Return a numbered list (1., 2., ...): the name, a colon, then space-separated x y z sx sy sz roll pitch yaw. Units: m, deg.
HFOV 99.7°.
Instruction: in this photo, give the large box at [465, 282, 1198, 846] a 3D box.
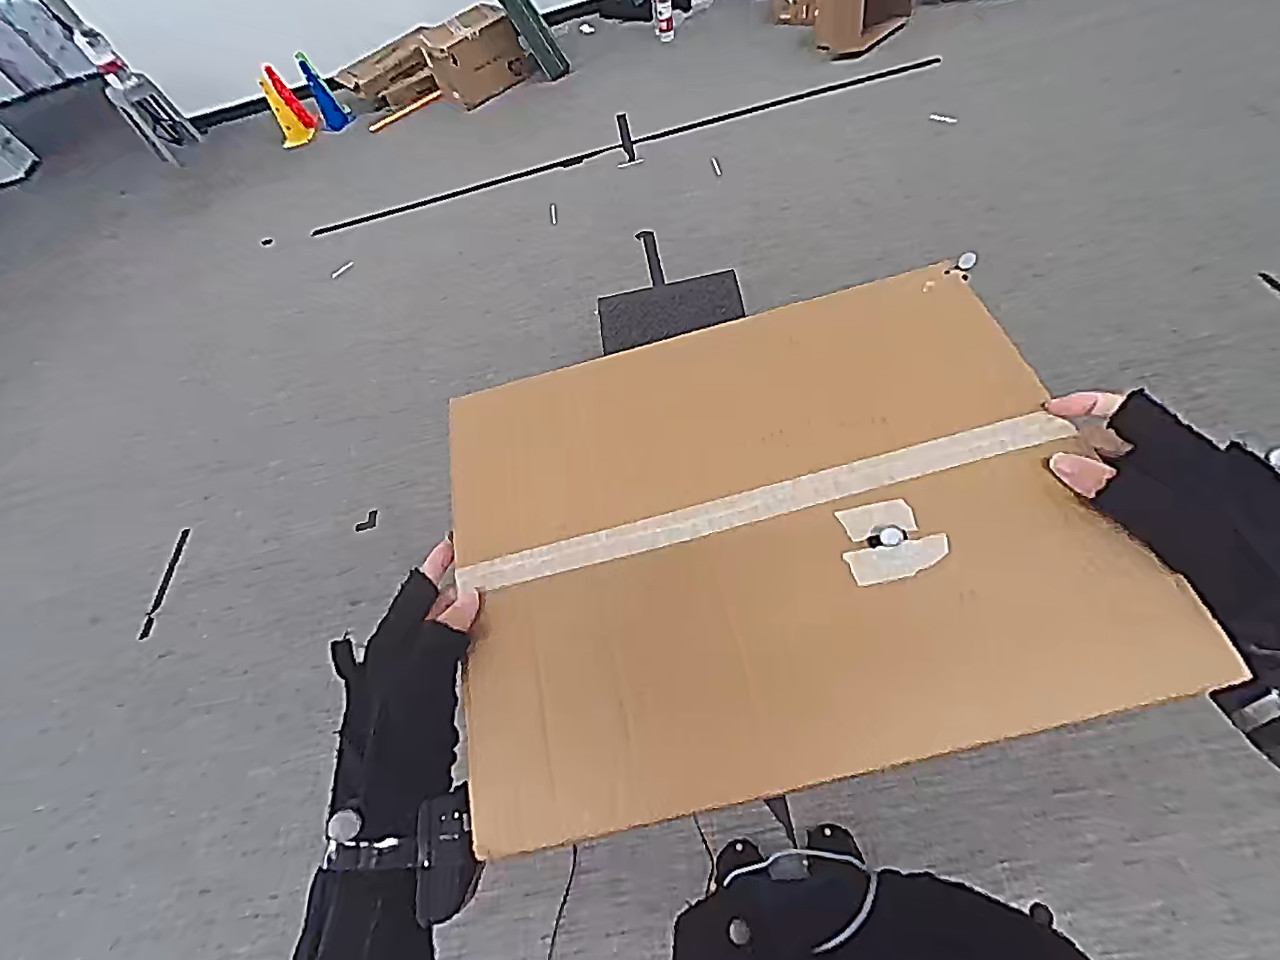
1. large box: 0.100 0.090 0.496 0.408 0.320 0.320 -15 62 2
